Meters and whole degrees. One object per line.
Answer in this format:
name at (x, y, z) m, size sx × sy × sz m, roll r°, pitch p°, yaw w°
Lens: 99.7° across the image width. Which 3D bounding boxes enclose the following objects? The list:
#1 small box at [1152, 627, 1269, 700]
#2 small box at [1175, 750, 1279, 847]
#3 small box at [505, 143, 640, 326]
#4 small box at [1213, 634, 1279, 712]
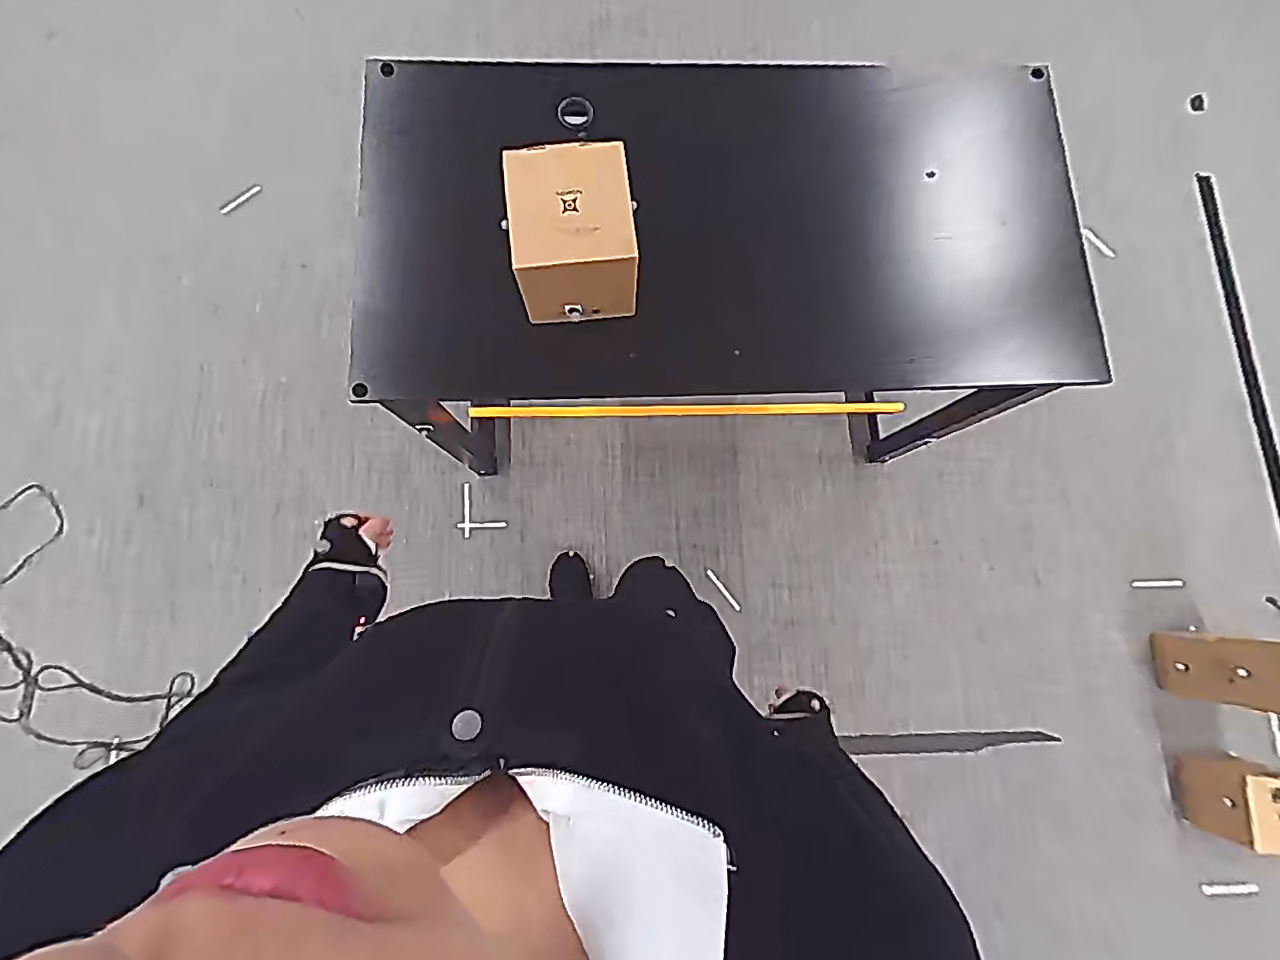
small box at (1.545, 0.491, 1.464) m, size 0.179 × 0.176 × 0.168 m, roll -2°, pitch 80°, yaw -2°
small box at (1.557, 0.821, 1.410) m, size 0.168 × 0.176 × 0.179 m, roll 2°, pitch 82°, yaw -2°
small box at (-0.095, -0.350, 0.792) m, size 0.168 × 0.176 × 0.179 m, roll -7°, pitch 81°, yaw -3°
small box at (1.556, 0.465, 1.300) m, size 0.179 × 0.176 × 0.168 m, roll 3°, pitch 80°, yaw -2°
